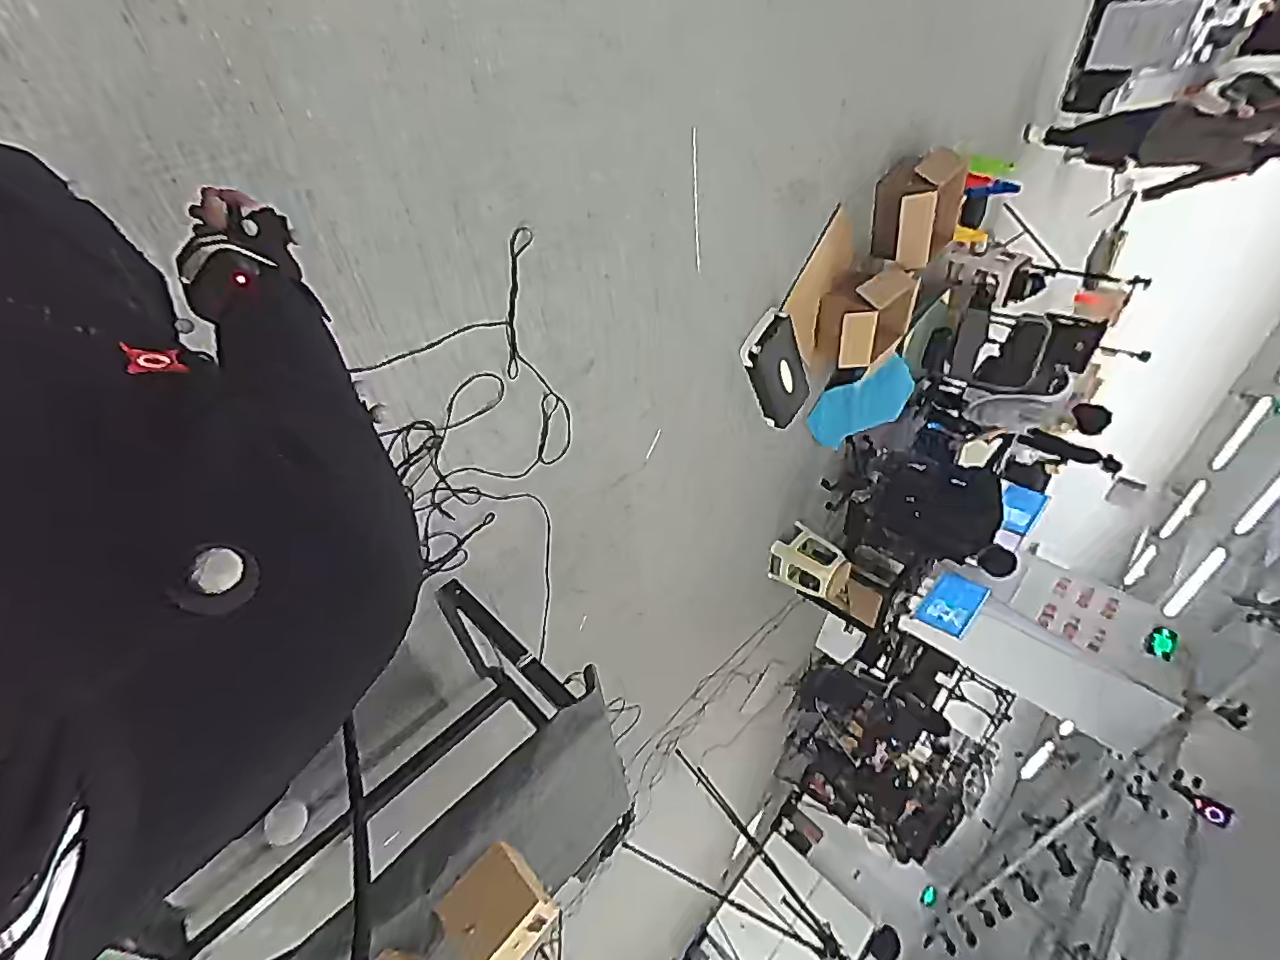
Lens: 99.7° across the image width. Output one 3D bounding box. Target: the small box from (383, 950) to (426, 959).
[{"bbox_3d":[-0.504,1.097,1.086,0.168,0.176,0.179,-41,142,-24],"label":"small box"}]
